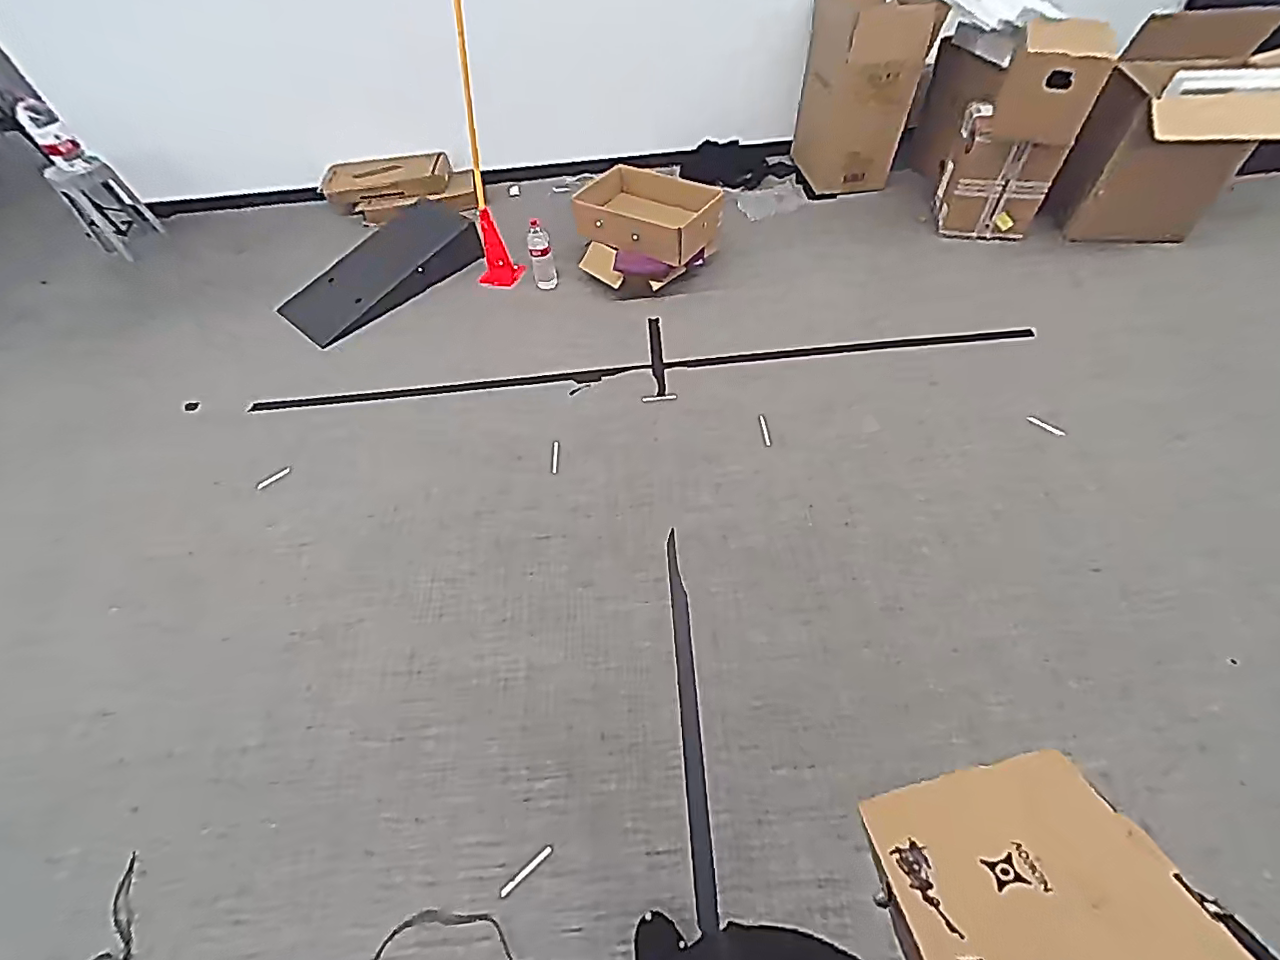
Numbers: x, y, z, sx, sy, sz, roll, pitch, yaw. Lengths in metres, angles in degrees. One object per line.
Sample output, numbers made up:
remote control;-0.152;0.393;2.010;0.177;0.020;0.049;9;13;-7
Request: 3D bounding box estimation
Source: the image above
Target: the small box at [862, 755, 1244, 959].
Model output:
small box;0.301;0.358;0.418;0.179;0.176;0.168;-19;17;6
